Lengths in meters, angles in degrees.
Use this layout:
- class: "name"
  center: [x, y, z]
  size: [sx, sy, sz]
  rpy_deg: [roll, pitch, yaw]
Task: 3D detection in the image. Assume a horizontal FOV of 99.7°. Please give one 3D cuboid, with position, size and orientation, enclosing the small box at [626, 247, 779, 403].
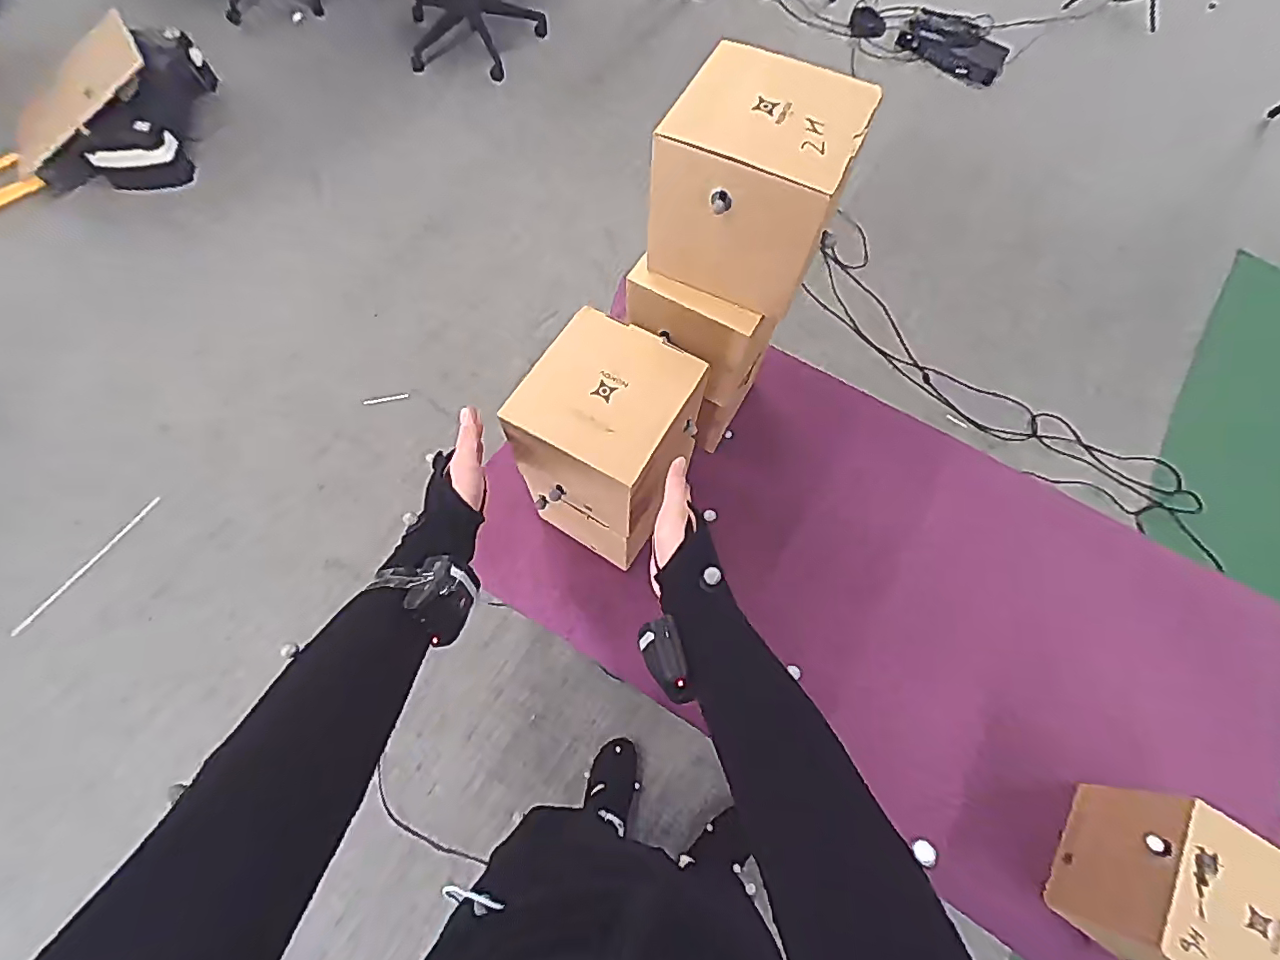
- class: "small box"
  center: [0.094, -0.235, 0.732]
  size: [0.168, 0.176, 0.179]
  rpy_deg: [28, 69, 10]

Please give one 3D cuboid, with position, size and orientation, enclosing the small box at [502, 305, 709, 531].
- class: "small box"
  center: [-0.038, -0.067, 0.655]
  size: [0.168, 0.176, 0.179]
  rpy_deg: [29, 69, 10]

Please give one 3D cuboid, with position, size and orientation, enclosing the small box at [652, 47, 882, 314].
- class: "small box"
  center: [0.123, -0.314, 0.588]
  size: [0.179, 0.176, 0.168]
  rpy_deg: [25, 69, 8]

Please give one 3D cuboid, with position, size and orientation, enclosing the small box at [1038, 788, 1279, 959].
- class: "small box"
  center: [0.619, 0.485, 0.620]
  size: [0.179, 0.176, 0.168]
  rpy_deg: [34, 69, 12]
